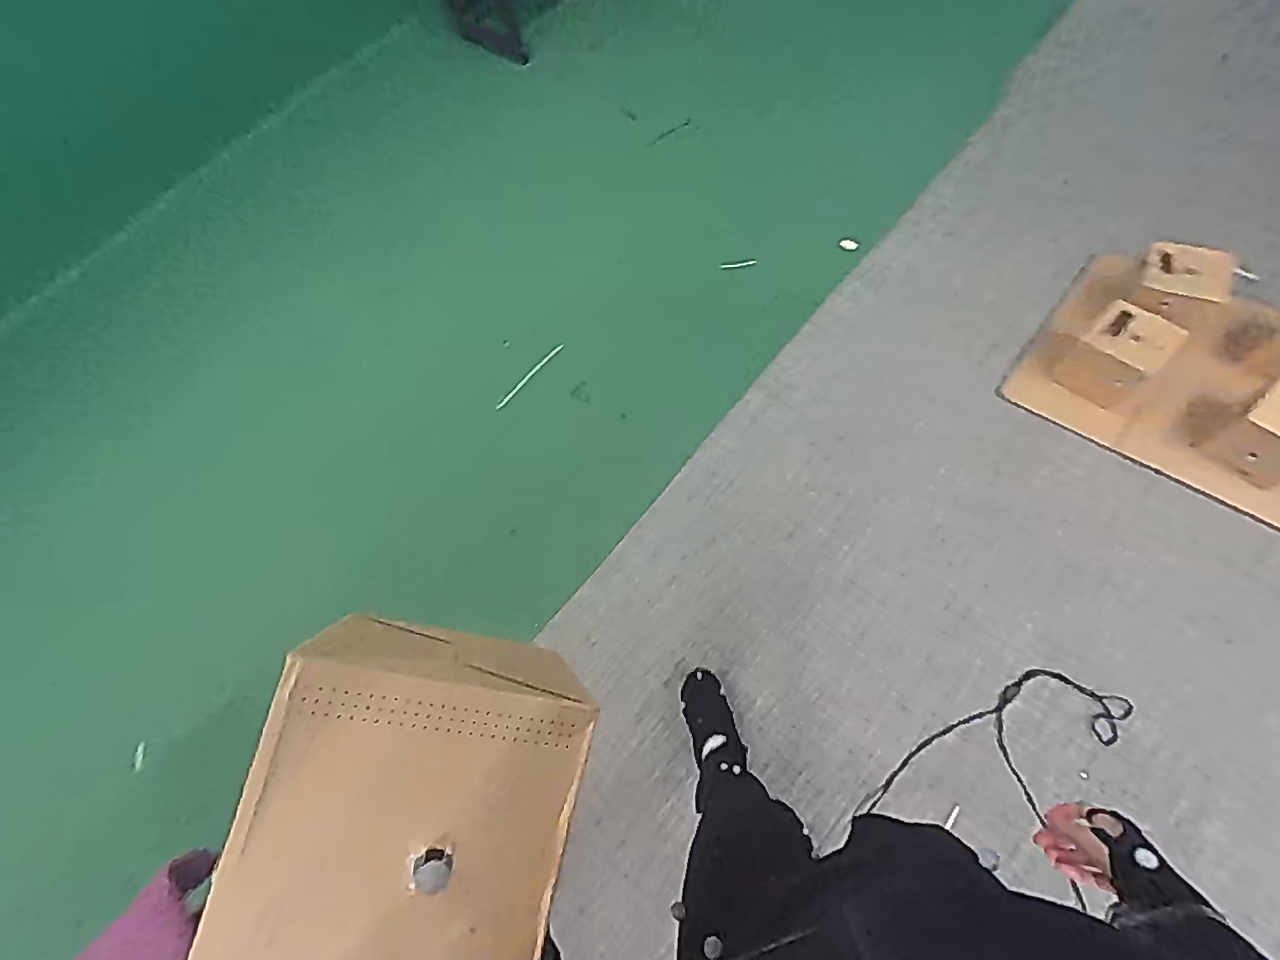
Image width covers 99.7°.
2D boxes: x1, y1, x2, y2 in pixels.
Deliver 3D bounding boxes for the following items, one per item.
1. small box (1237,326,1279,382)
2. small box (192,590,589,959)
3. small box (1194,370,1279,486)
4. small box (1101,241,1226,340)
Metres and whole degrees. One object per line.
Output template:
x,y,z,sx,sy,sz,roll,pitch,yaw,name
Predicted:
1.635,-0.320,1.312,0.179,0.176,0.168,-35,64,-6,small box
-0.146,0.183,0.373,0.179,0.168,0.176,16,80,-15,small box
1.460,-0.115,1.251,0.179,0.176,0.168,-42,65,-9,small box
1.388,-0.500,1.446,0.179,0.176,0.168,22,72,19,small box
